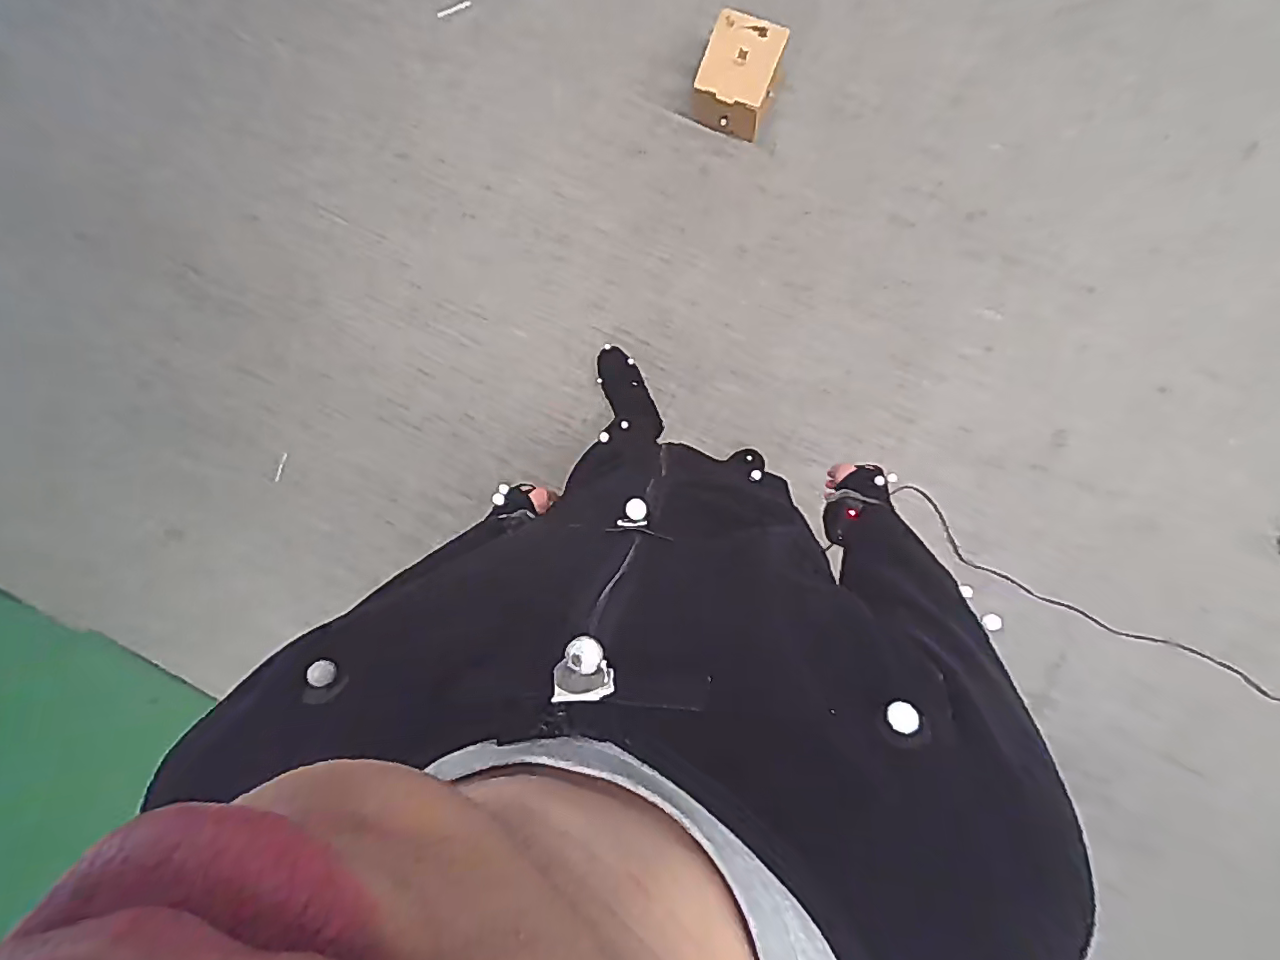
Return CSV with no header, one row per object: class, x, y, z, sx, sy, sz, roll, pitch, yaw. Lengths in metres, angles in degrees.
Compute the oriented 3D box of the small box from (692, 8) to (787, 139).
small box,0.241,-0.973,1.312,0.168,0.176,0.179,23,102,5
